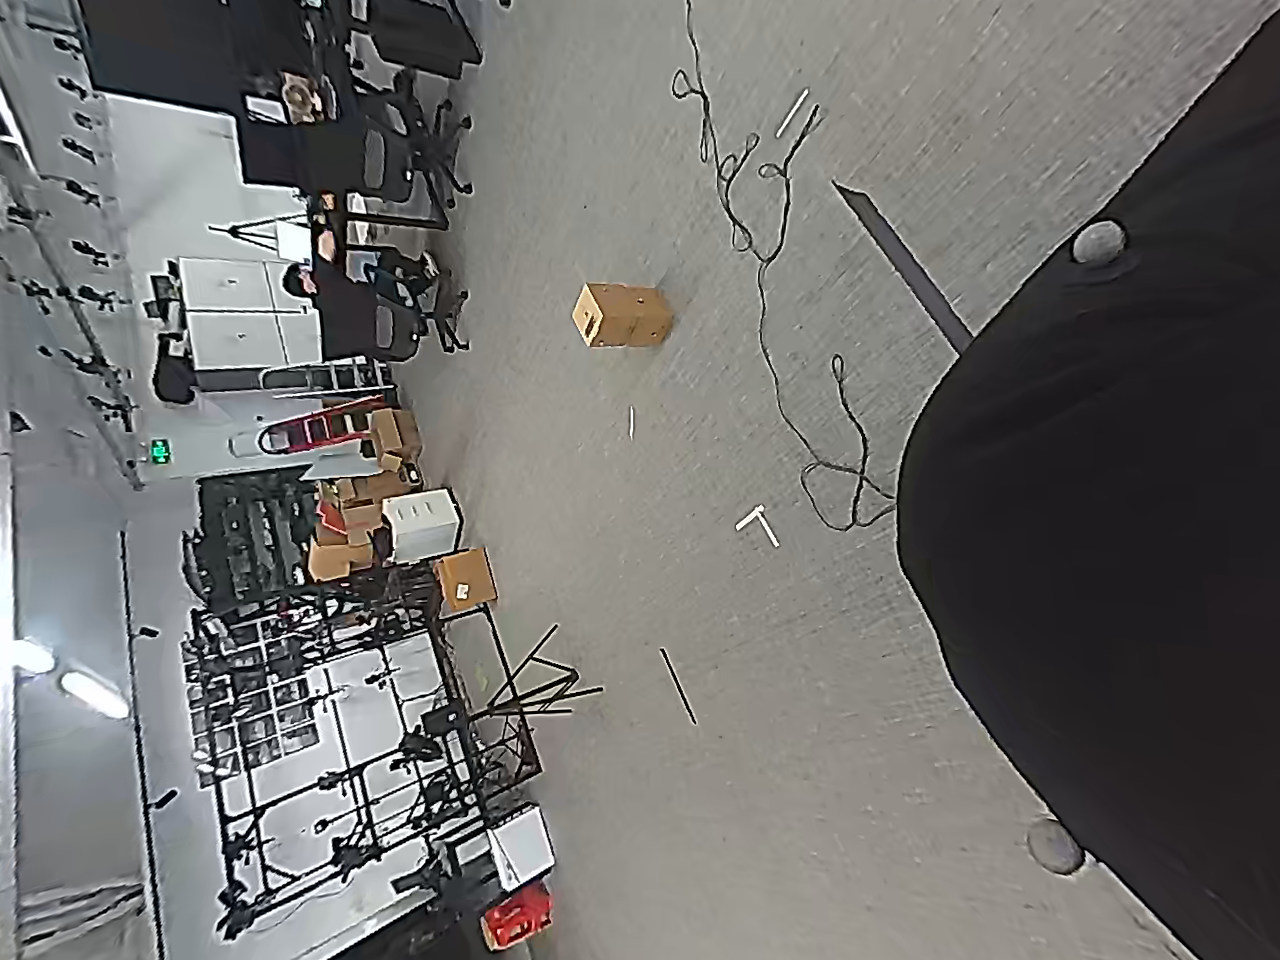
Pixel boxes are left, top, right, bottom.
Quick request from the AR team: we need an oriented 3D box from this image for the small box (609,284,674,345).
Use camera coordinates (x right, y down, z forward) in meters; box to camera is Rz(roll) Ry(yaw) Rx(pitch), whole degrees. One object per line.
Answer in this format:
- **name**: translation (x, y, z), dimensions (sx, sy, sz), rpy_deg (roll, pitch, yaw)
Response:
- **small box**: translation (0.006, -0.664, 2.178), dimensions (0.179, 0.176, 0.168), rpy_deg (60, 142, 24)
